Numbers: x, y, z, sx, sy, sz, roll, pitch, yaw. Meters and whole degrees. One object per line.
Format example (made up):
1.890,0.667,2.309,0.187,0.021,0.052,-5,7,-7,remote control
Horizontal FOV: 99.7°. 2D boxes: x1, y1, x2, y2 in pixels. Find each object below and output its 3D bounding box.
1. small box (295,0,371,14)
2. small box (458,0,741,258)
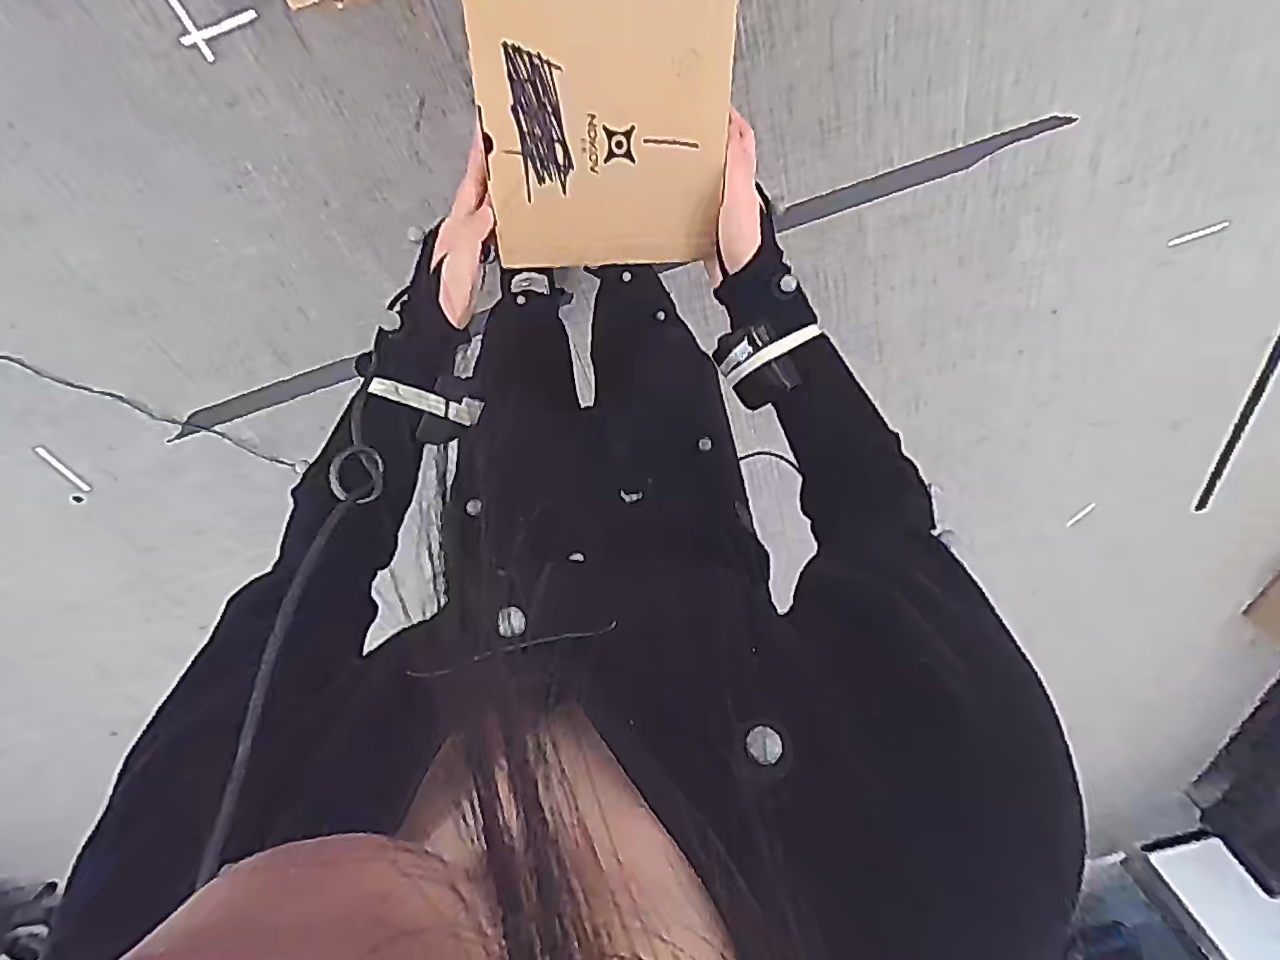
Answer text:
-0.464,-0.827,0.793,0.168,0.176,0.179,-18,127,2,small box
-0.032,-0.283,0.436,0.179,0.176,0.168,-4,126,-6,small box
